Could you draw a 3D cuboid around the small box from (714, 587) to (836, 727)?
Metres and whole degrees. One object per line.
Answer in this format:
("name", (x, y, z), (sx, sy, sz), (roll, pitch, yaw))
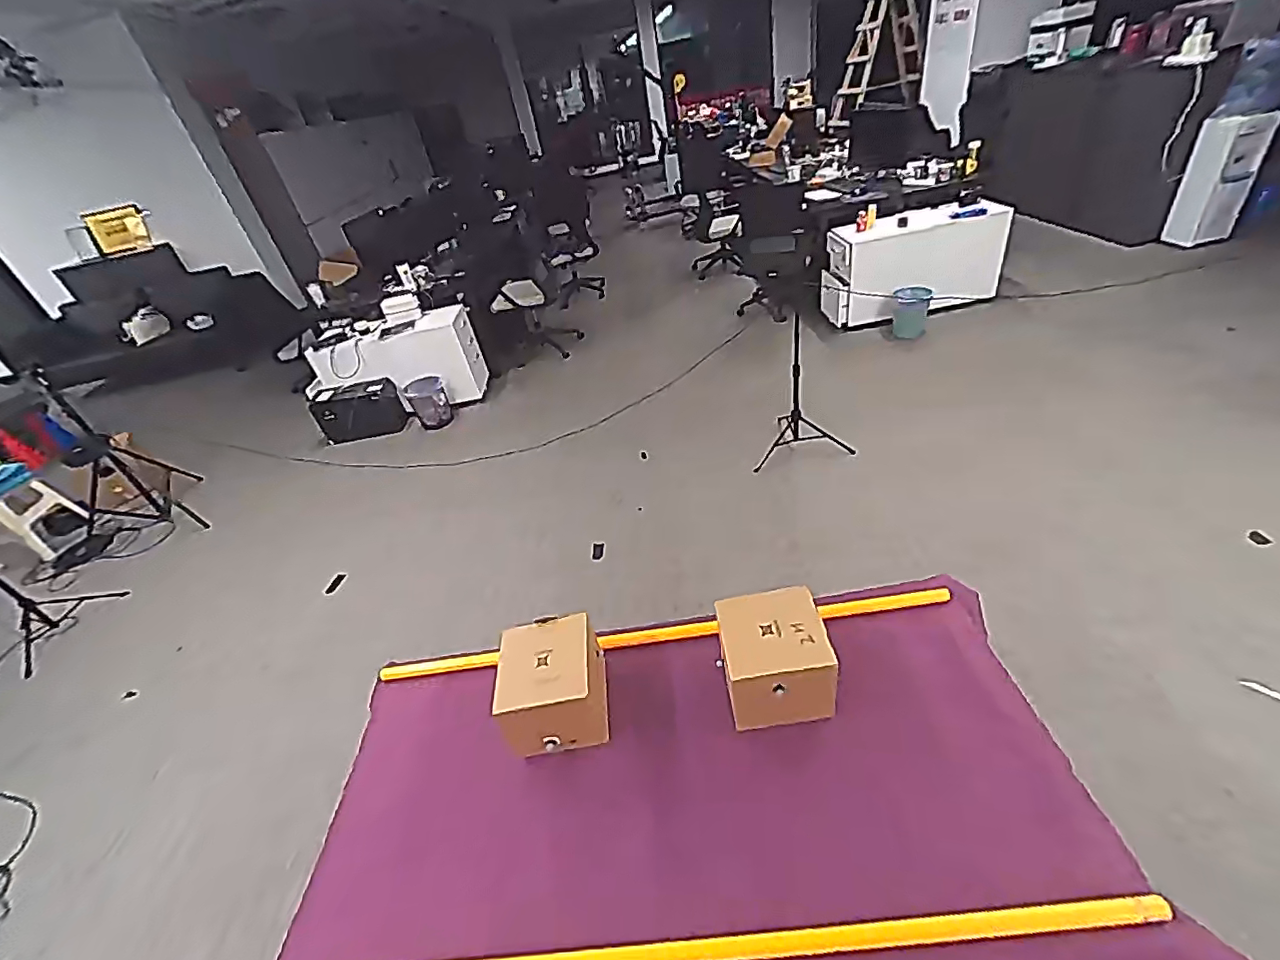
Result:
("small box", (0.238, 0.320, 0.969), (0.179, 0.176, 0.168), (-10, 38, 4))

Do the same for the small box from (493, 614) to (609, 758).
("small box", (-0.157, 0.381, 1.005), (0.168, 0.176, 0.179), (-12, 37, 2))
